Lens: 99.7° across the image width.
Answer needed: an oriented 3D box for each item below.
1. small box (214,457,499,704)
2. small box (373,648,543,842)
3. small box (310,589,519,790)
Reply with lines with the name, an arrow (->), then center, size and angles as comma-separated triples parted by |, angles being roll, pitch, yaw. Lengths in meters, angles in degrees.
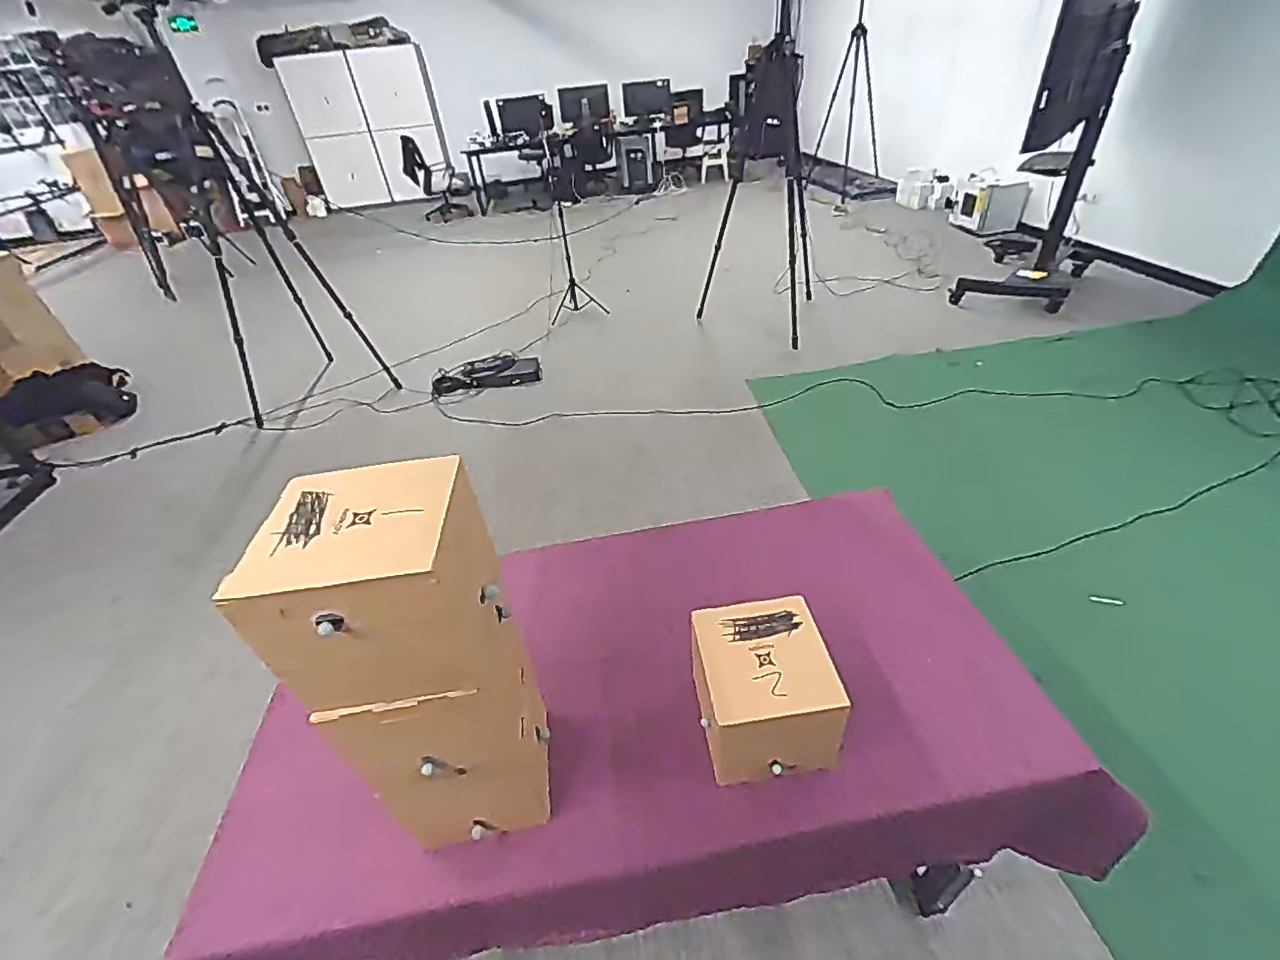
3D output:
small box -> -0.254, 0.100, 0.539 | 0.179, 0.176, 0.168 | -8, 38, -3
small box -> -0.230, 0.361, 0.739 | 0.179, 0.176, 0.168 | -10, 38, -5
small box -> -0.244, 0.230, 0.640 | 0.168, 0.176, 0.179 | -10, 39, -3
